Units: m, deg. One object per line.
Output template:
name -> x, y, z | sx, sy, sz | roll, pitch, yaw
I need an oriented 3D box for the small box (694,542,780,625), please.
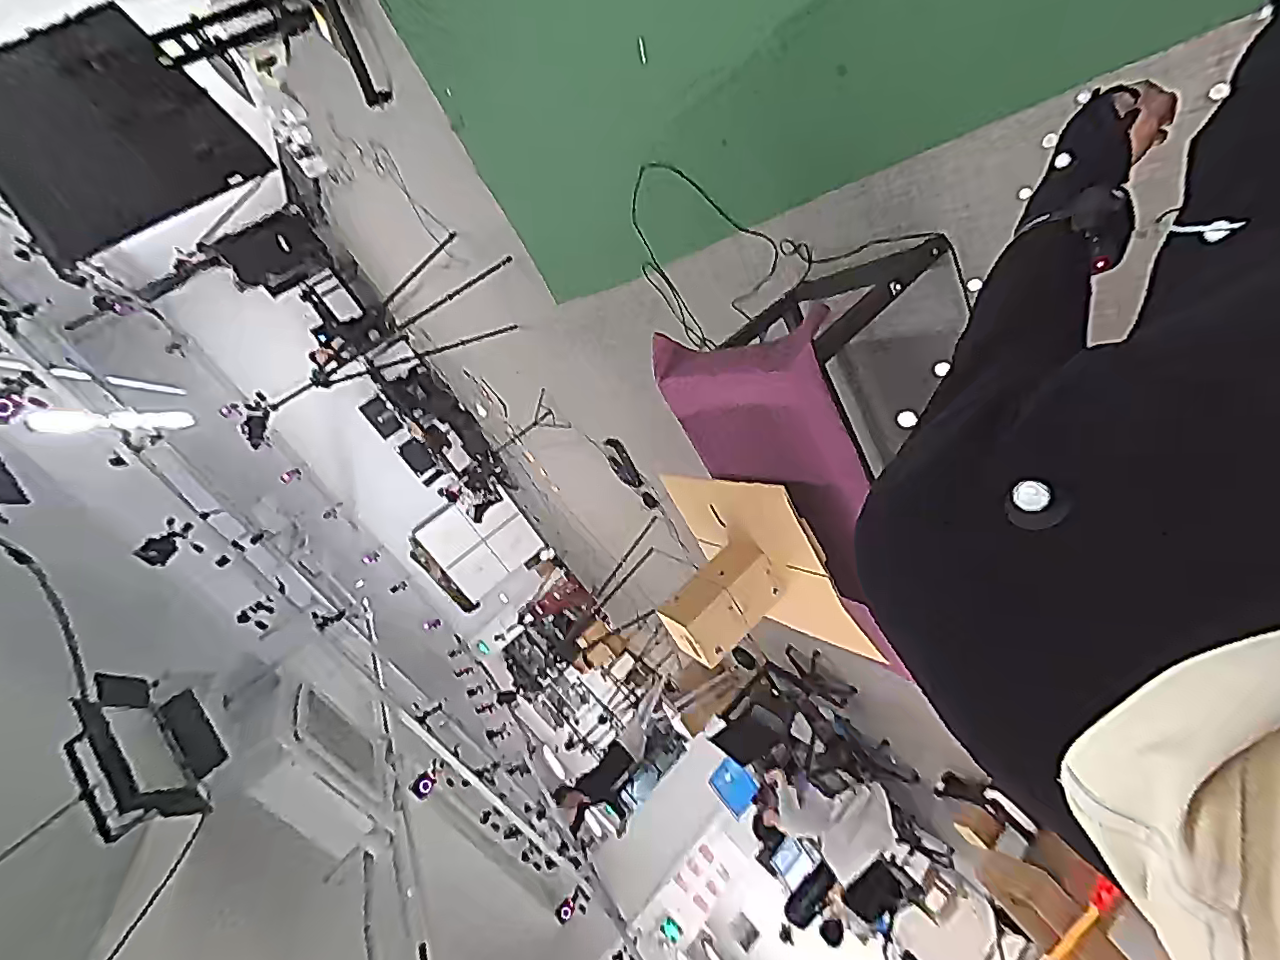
small box -> 0.307, 0.311, 1.671 | 0.168, 0.176, 0.179 | 59, 159, -19
